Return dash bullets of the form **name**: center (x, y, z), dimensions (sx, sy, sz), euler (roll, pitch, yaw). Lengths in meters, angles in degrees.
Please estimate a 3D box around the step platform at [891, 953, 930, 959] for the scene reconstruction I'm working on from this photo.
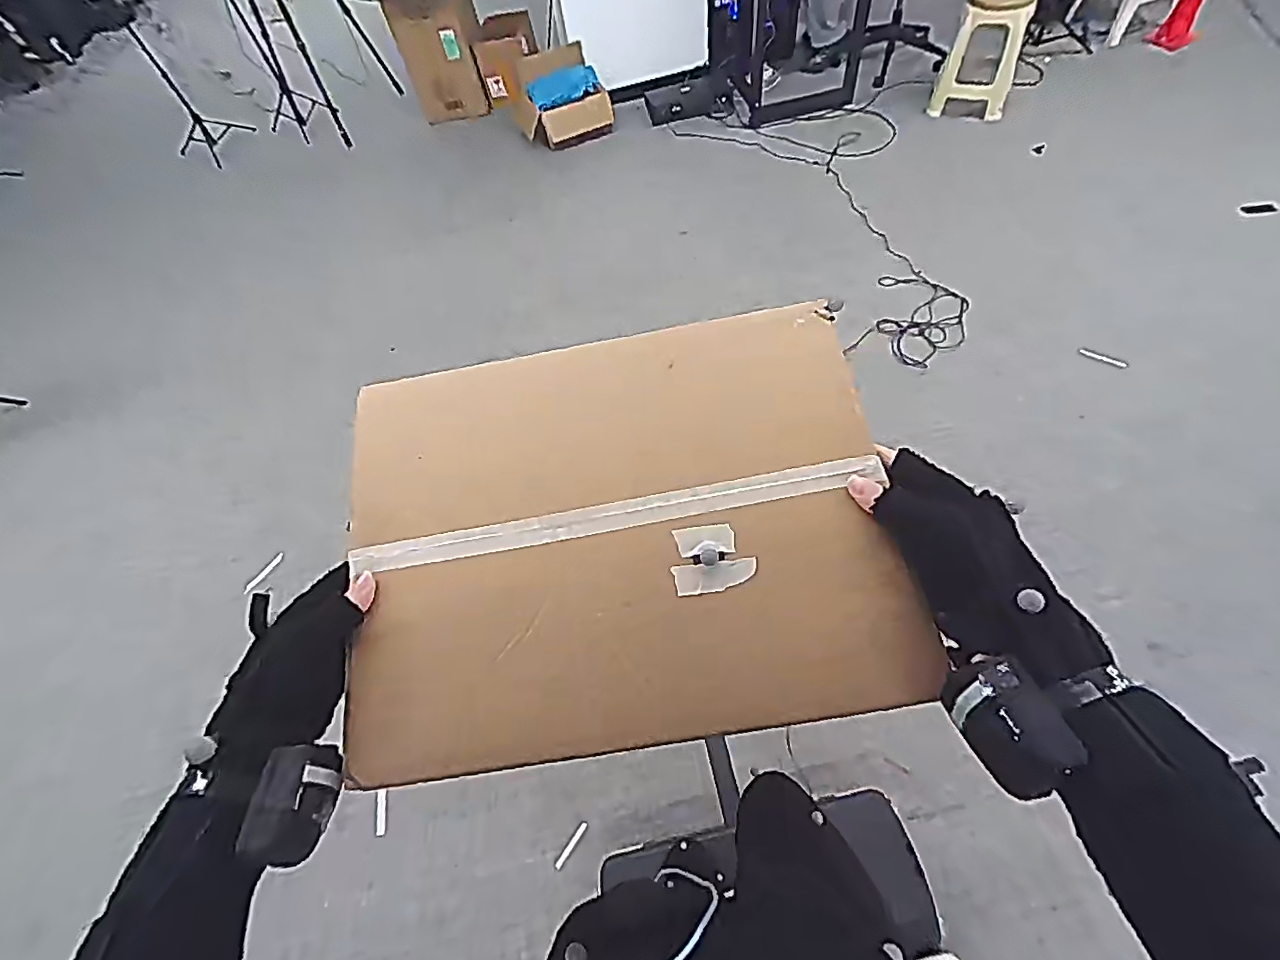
- **step platform**: center (0.289, 1.096, 0.938), dimensions (0.684, 0.204, 0.286), euler (-15, 56, 0)

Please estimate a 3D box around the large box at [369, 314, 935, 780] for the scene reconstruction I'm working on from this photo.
- **large box**: center (-0.004, 0.085, 0.560), dimensions (0.408, 0.320, 0.320), euler (-10, 69, 3)
